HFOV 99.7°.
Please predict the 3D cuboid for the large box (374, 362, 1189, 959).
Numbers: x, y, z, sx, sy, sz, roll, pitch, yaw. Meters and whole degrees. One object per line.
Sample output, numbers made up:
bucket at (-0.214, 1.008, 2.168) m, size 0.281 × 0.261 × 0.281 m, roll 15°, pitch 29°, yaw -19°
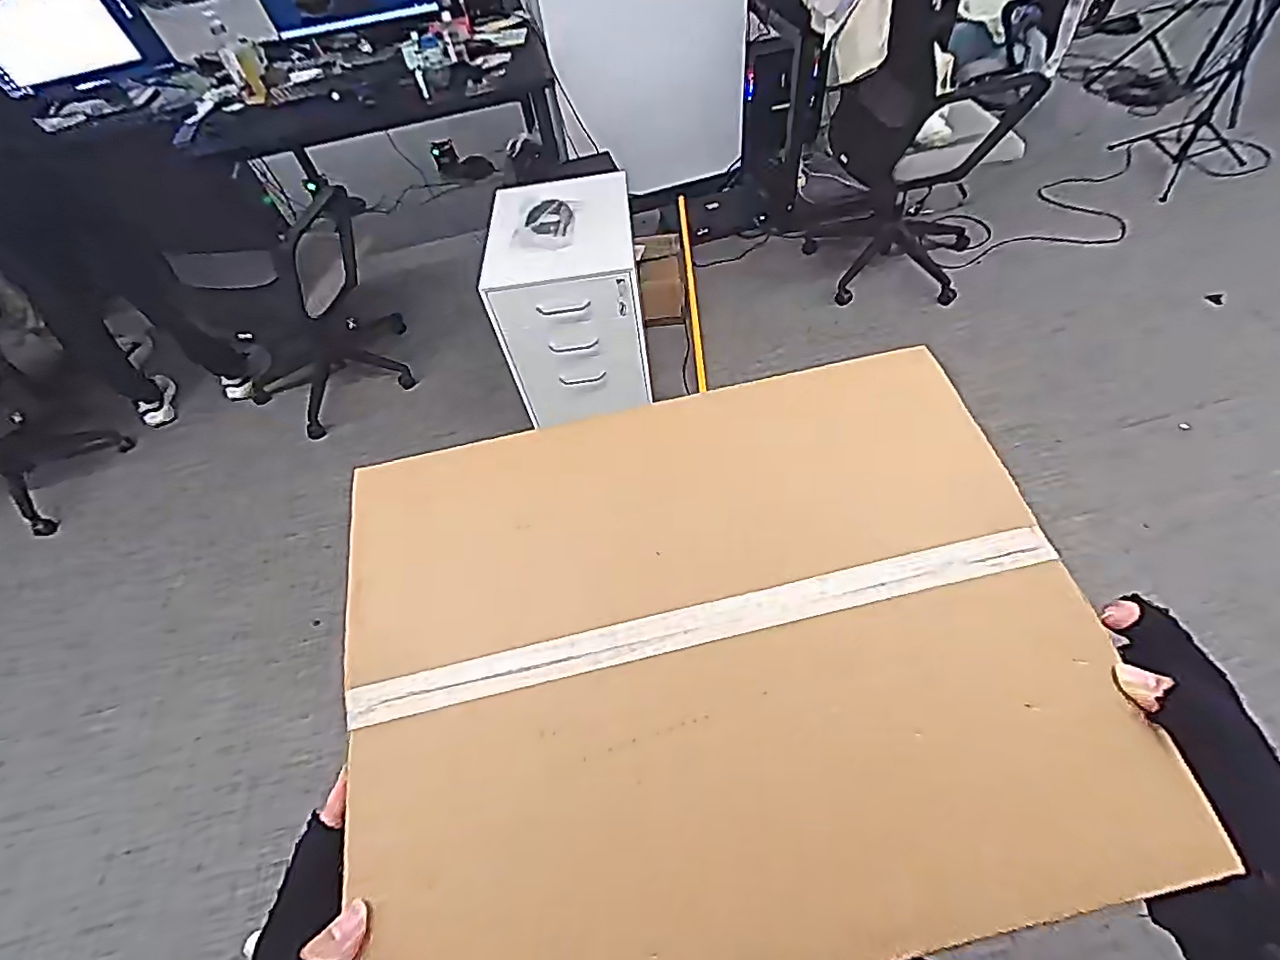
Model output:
large box at (0.050, 0.157, 0.450) m, size 0.408 × 0.320 × 0.320 m, roll -13°, pitch 63°, yaw -2°
